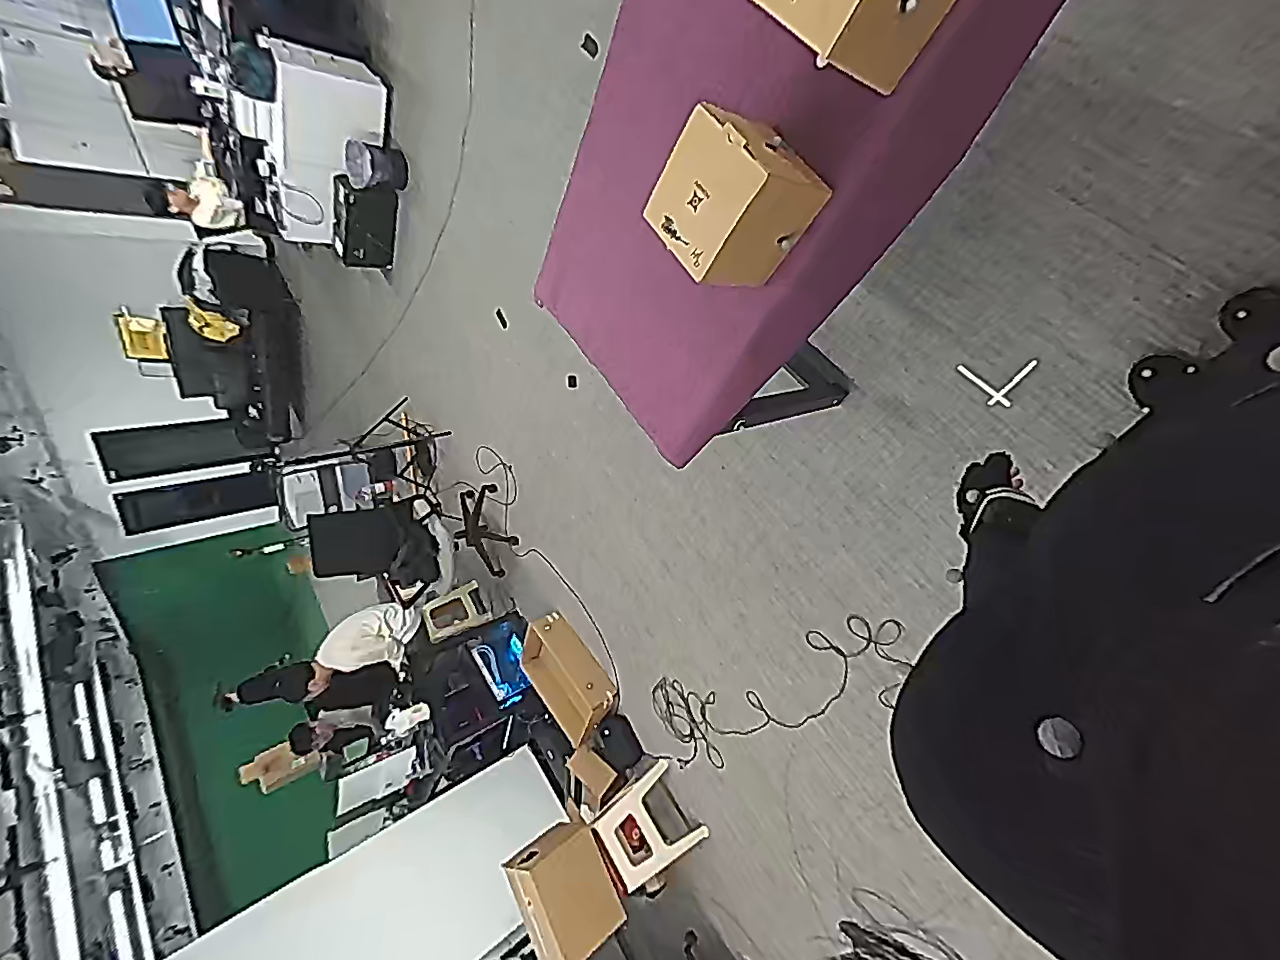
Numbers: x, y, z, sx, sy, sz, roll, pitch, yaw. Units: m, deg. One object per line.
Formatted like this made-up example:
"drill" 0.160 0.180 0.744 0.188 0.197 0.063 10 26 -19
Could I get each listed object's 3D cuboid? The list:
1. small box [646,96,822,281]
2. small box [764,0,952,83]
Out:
"small box" 0.147 -0.426 0.819 0.168 0.176 0.179 58 136 19
"small box" 0.266 -0.610 0.626 0.168 0.176 0.179 57 138 20
